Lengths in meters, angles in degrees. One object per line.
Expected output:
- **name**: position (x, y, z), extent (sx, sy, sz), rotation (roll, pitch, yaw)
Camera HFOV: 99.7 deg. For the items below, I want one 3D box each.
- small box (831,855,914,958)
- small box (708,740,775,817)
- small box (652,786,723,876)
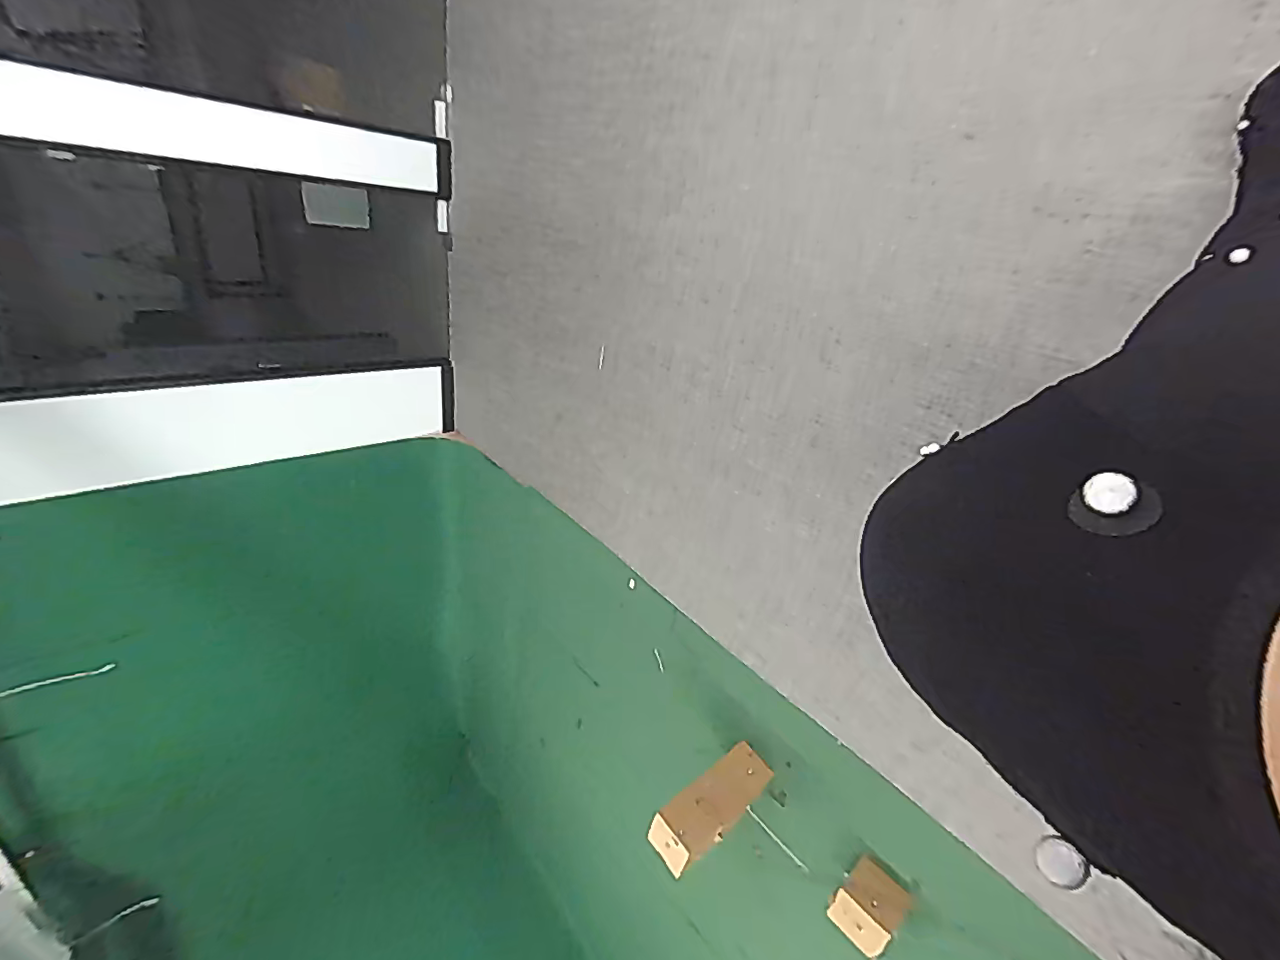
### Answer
- **small box**: position (0.772, 1.399, 1.787), extent (0.179, 0.176, 0.168), rotation (32, 124, 38)
- **small box**: position (0.404, 1.168, 2.129), extent (0.168, 0.176, 0.179), rotation (41, 130, 33)
- **small box**: position (0.170, 1.232, 1.908), extent (0.168, 0.176, 0.179), rotation (38, 129, 36)
